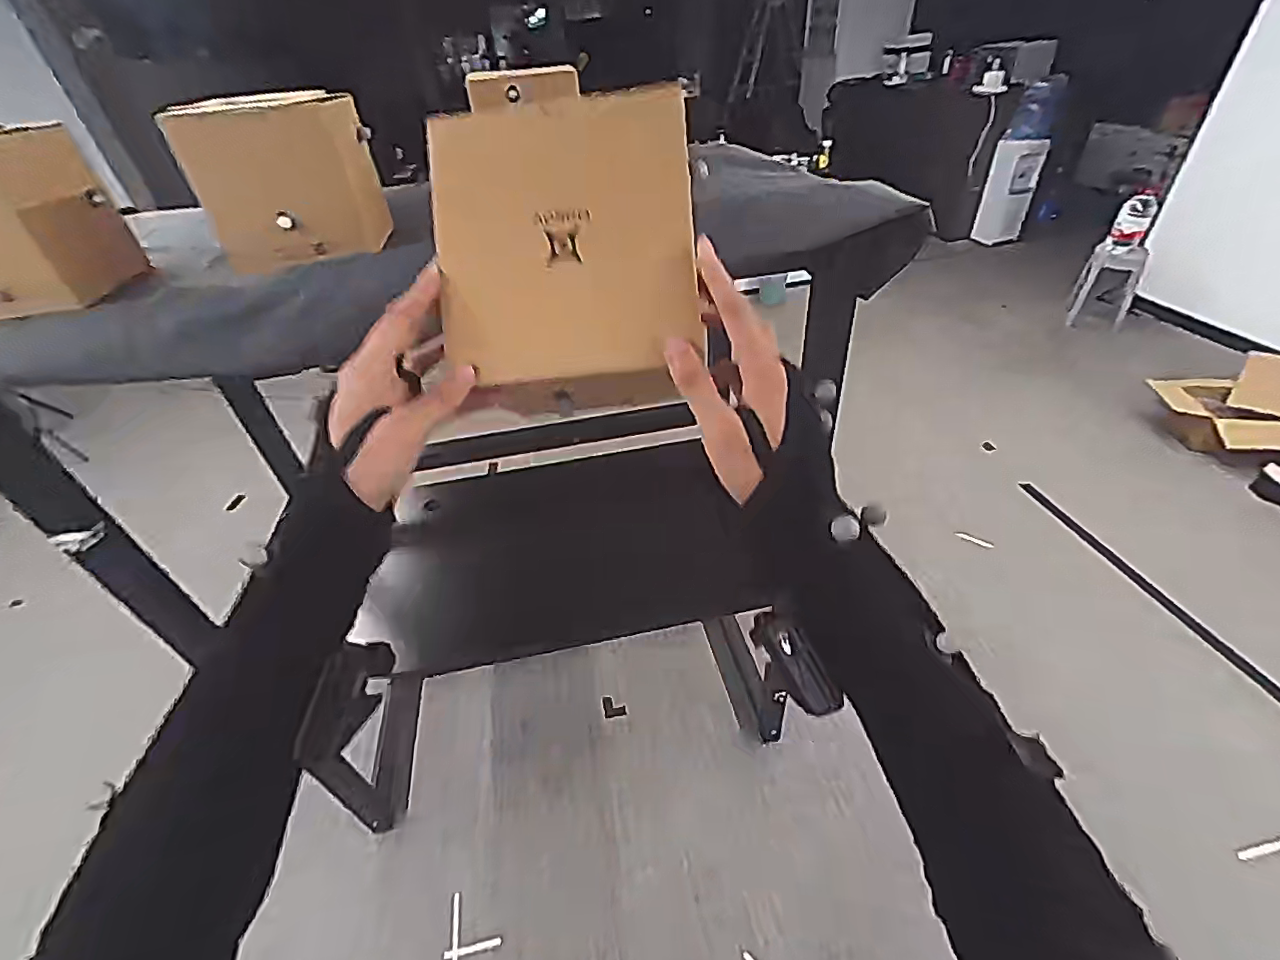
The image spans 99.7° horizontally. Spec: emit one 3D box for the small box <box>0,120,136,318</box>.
[{"bbox_3d":[-0.723,-0.285,0.597,0.168,0.176,0.179,-12,39,-8],"label":"small box"}]

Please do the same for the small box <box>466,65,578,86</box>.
[{"bbox_3d":[-0.182,-0.578,0.899,0.168,0.176,0.179,-11,39,-6],"label":"small box"}]

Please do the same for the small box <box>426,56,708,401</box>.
[{"bbox_3d":[-0.039,-0.158,0.405,0.168,0.179,0.176,-5,-2,4],"label":"small box"}]
